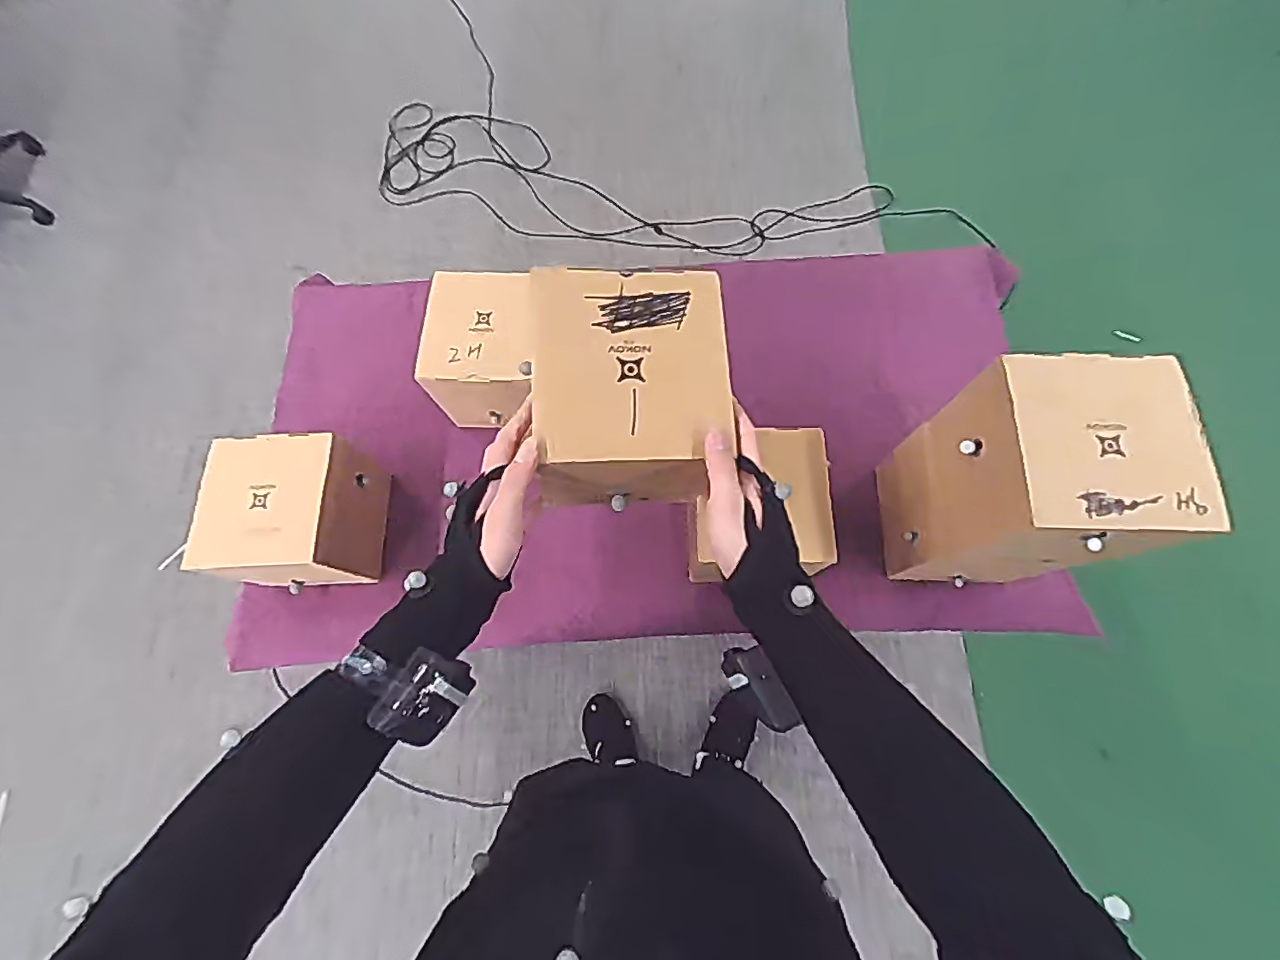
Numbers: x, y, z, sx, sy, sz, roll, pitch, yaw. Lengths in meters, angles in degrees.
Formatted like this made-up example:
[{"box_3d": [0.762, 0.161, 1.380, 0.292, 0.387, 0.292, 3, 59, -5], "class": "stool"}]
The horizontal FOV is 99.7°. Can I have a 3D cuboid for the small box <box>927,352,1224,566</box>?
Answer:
[{"box_3d": [0.426, -0.014, 0.570, 0.168, 0.176, 0.179, 1, 71, 4], "class": "small box"}]

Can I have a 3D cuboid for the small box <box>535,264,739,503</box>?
[{"box_3d": [-0.013, -0.080, 0.524, 0.168, 0.176, 0.179, -1, 77, -7], "class": "small box"}]

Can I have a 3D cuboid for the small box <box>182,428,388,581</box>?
[{"box_3d": [-0.477, 0.041, 0.760, 0.168, 0.176, 0.179, -2, 72, 2], "class": "small box"}]

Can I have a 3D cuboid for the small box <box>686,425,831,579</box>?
[{"box_3d": [0.149, 0.038, 0.740, 0.168, 0.176, 0.179, 0, 71, 2], "class": "small box"}]

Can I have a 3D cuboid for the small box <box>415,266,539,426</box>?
[{"box_3d": [-0.216, -0.197, 0.827, 0.168, 0.176, 0.179, 3, 73, 3], "class": "small box"}]
